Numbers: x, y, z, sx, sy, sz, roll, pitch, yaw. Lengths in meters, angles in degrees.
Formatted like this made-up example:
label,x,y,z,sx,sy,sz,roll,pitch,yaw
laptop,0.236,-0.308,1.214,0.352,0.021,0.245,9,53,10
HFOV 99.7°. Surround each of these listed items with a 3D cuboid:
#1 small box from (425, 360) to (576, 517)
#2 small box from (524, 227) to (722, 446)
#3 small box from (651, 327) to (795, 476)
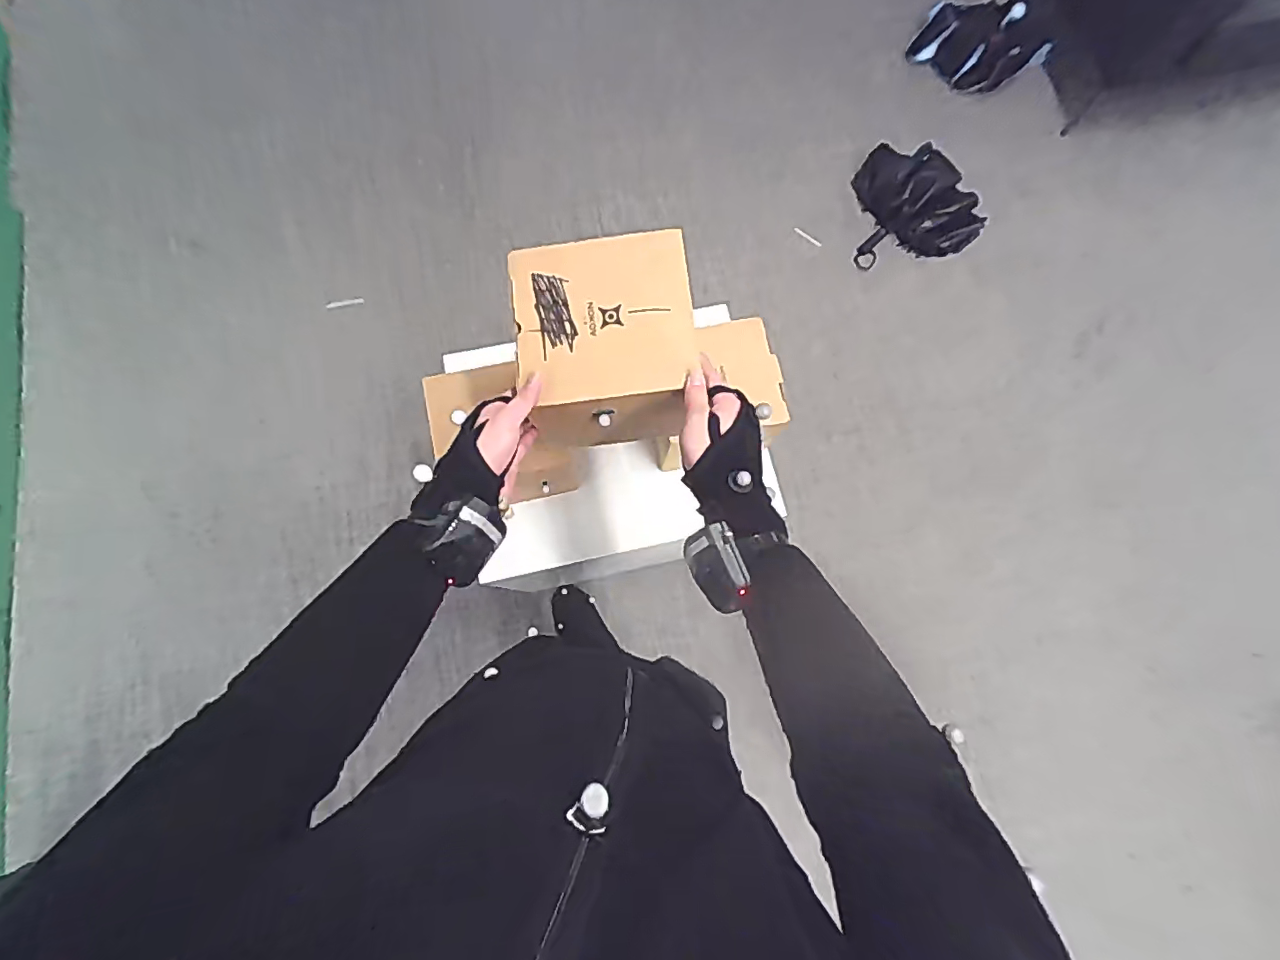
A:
label,x,y,z,sx,sy,sz,roll,pitch,yaw
small box,-0.194,-0.055,0.792,0.179,0.176,0.168,-13,75,-9
small box,-0.018,-0.142,0.586,0.179,0.176,0.168,-6,78,-2
small box,0.110,-0.114,0.836,0.179,0.176,0.168,-10,77,-8
